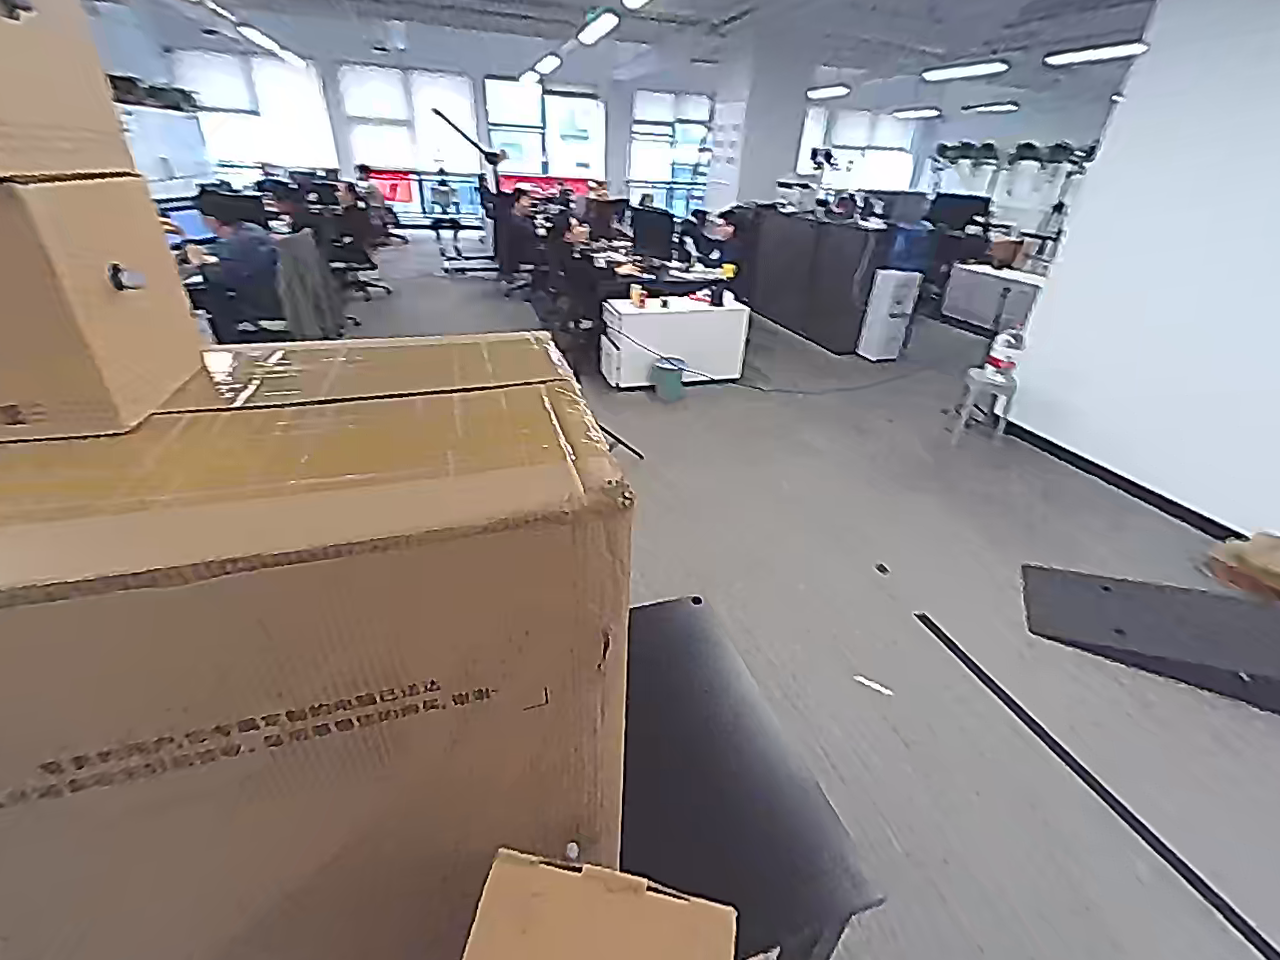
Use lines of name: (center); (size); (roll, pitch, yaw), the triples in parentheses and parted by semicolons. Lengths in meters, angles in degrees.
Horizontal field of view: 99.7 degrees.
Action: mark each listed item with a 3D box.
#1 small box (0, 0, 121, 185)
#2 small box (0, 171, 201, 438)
small box: (-0.461, -0.272, 0.314); (0.168, 0.176, 0.179); (-6, 32, -16)
small box: (-0.477, -0.137, 0.409); (0.168, 0.176, 0.179); (-7, 32, -17)
